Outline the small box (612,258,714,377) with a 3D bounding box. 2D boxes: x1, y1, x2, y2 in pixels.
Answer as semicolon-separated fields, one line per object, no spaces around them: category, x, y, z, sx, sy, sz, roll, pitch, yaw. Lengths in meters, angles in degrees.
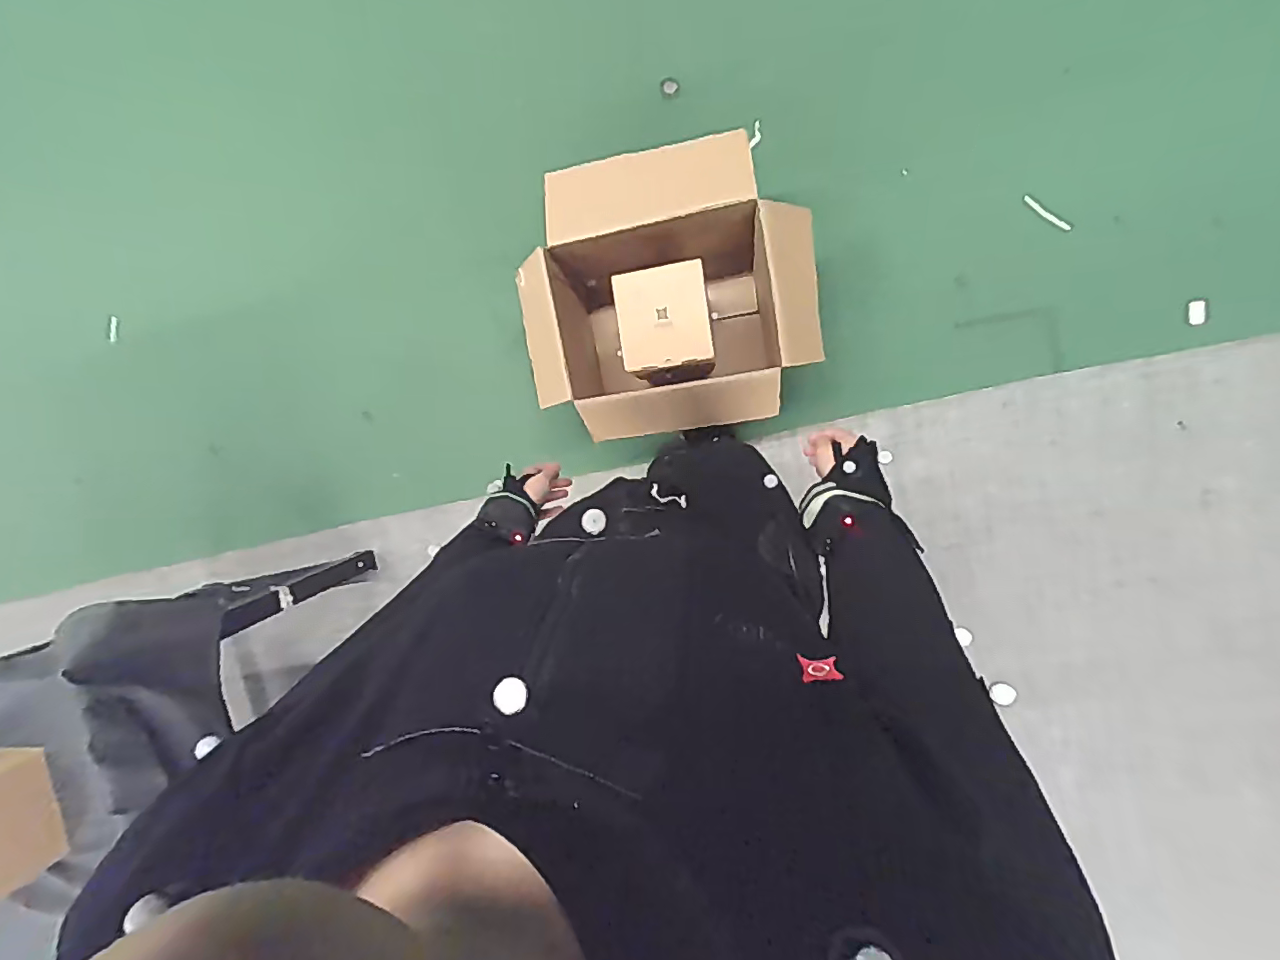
small box;0.050;-0.302;1.041;0.168;0.176;0.179;-8;96;9
